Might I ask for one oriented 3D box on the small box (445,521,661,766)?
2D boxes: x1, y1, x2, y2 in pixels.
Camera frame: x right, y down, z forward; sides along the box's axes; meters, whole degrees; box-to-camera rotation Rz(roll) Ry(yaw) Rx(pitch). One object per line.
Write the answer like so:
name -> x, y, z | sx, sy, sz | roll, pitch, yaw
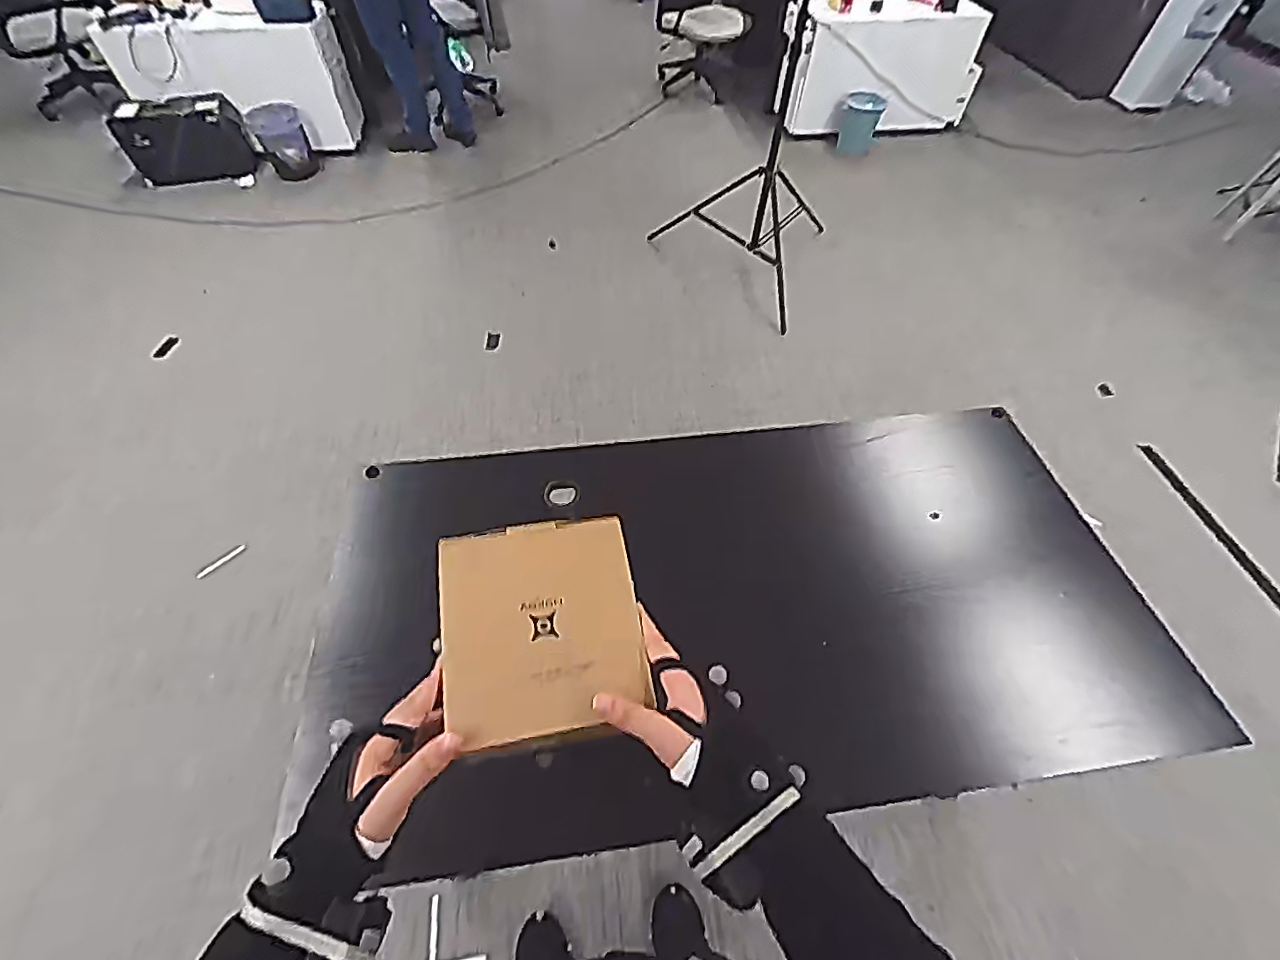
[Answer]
small box -> -0.090, 0.160, 0.519 | 0.168, 0.176, 0.179 | -6, 61, -13
